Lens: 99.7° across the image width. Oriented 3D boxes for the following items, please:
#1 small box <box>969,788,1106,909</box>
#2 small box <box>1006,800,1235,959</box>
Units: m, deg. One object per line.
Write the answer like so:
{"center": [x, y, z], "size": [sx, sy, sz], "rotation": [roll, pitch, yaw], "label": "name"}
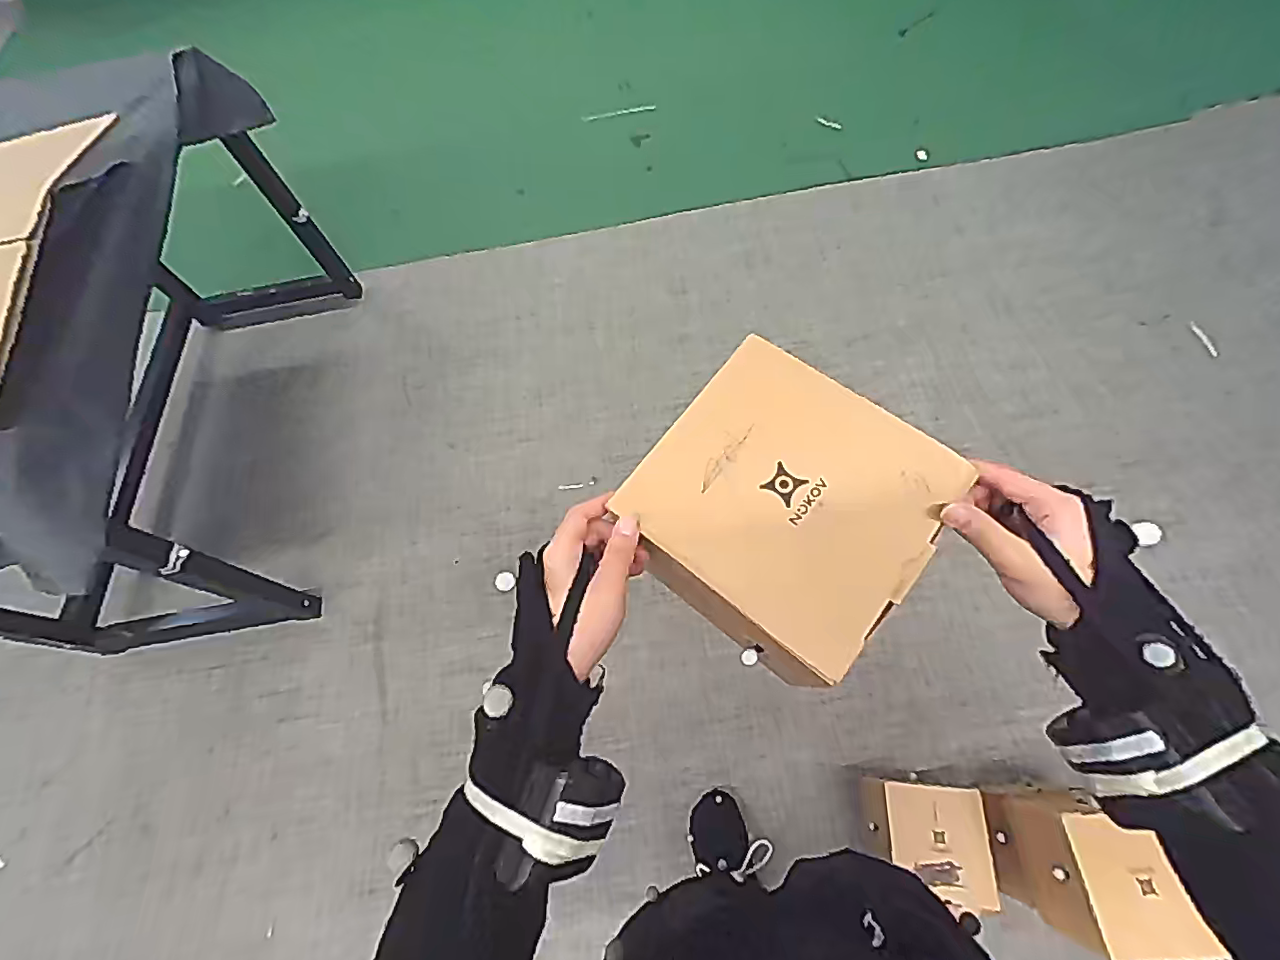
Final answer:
{"center": [0.732, 0.660, 0.974], "size": [0.168, 0.176, 0.179], "rotation": [-6, 63, 3], "label": "small box"}
{"center": [0.706, 0.601, 0.824], "size": [0.168, 0.176, 0.179], "rotation": [-6, 63, 4], "label": "small box"}
